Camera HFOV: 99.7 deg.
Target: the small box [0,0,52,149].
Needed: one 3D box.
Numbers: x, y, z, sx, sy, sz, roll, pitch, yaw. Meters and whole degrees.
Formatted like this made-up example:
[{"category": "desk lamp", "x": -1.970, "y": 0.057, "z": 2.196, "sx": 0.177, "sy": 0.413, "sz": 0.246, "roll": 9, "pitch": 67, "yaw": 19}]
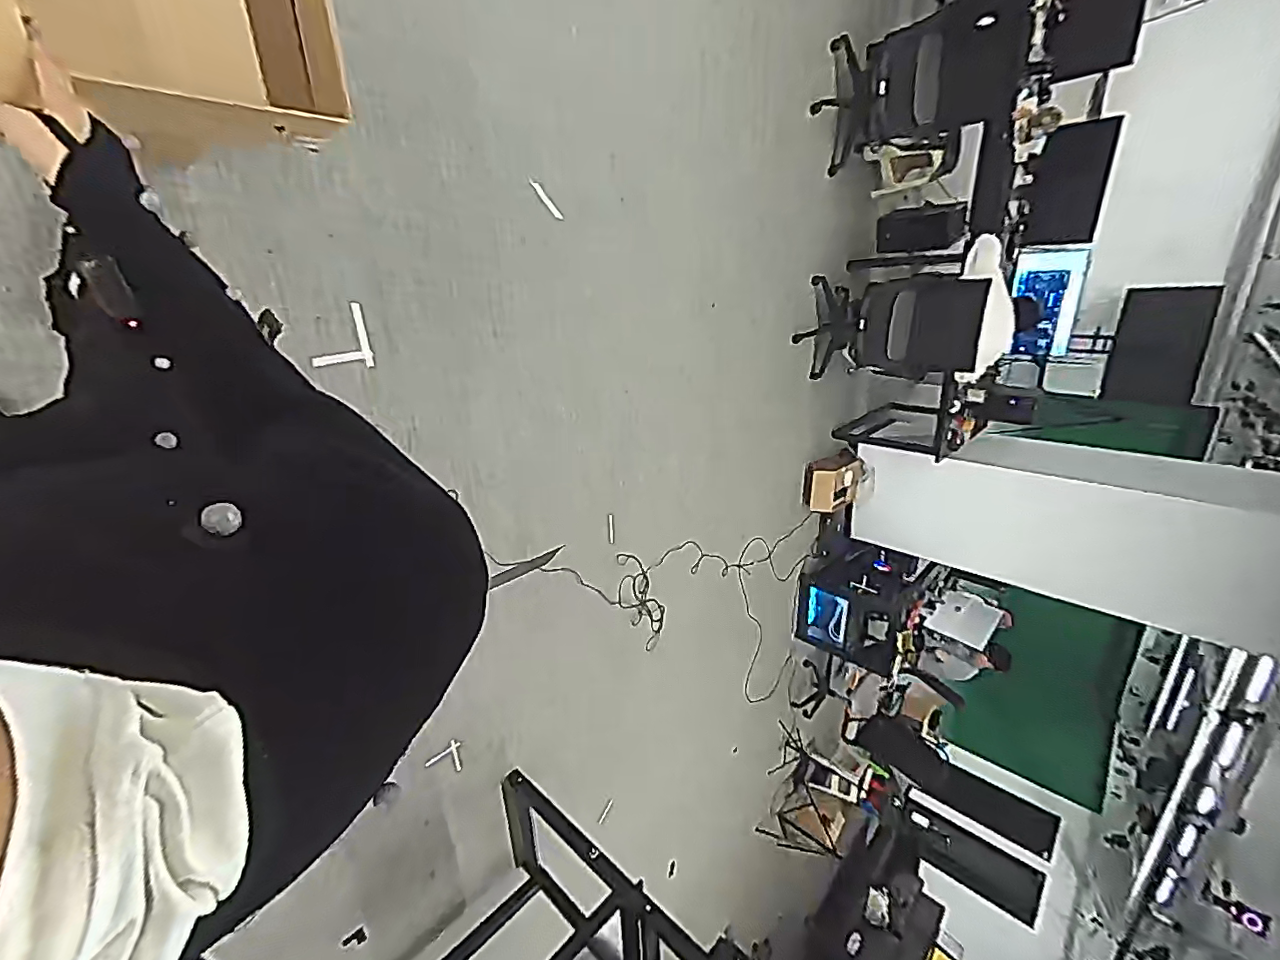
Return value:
[{"category": "small box", "x": -0.608, "y": -0.382, "z": 0.427, "sx": 0.168, "sy": 0.176, "sz": 0.179, "roll": -16, "pitch": 116, "yaw": -42}]
